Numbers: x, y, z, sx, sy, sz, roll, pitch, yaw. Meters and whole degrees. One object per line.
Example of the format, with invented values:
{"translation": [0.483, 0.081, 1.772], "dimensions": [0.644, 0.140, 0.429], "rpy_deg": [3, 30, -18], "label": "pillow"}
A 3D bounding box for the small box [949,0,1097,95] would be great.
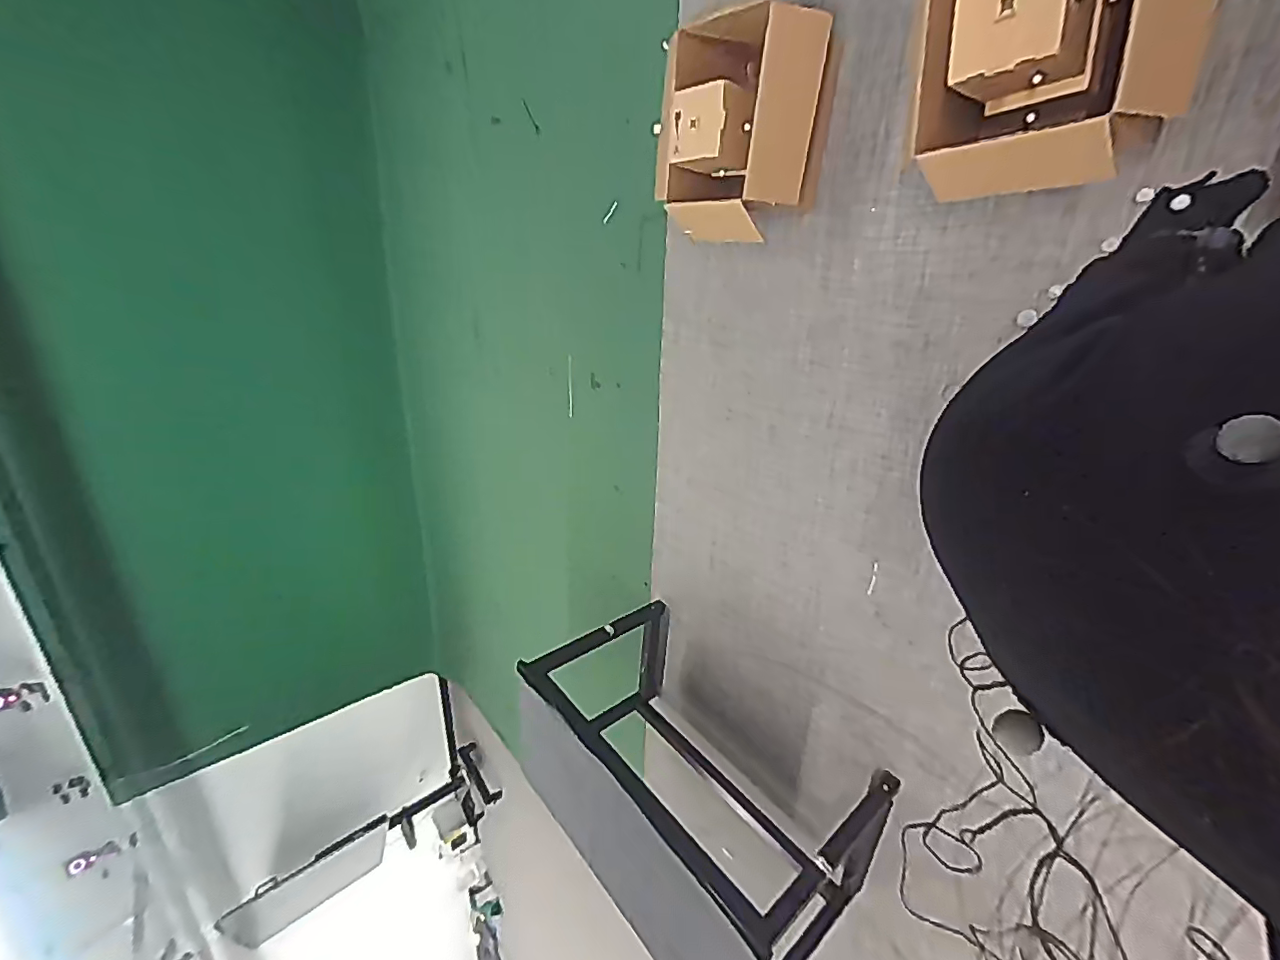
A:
{"translation": [0.658, -0.786, 0.925], "dimensions": [0.168, 0.176, 0.179], "rpy_deg": [17, 117, 46], "label": "small box"}
